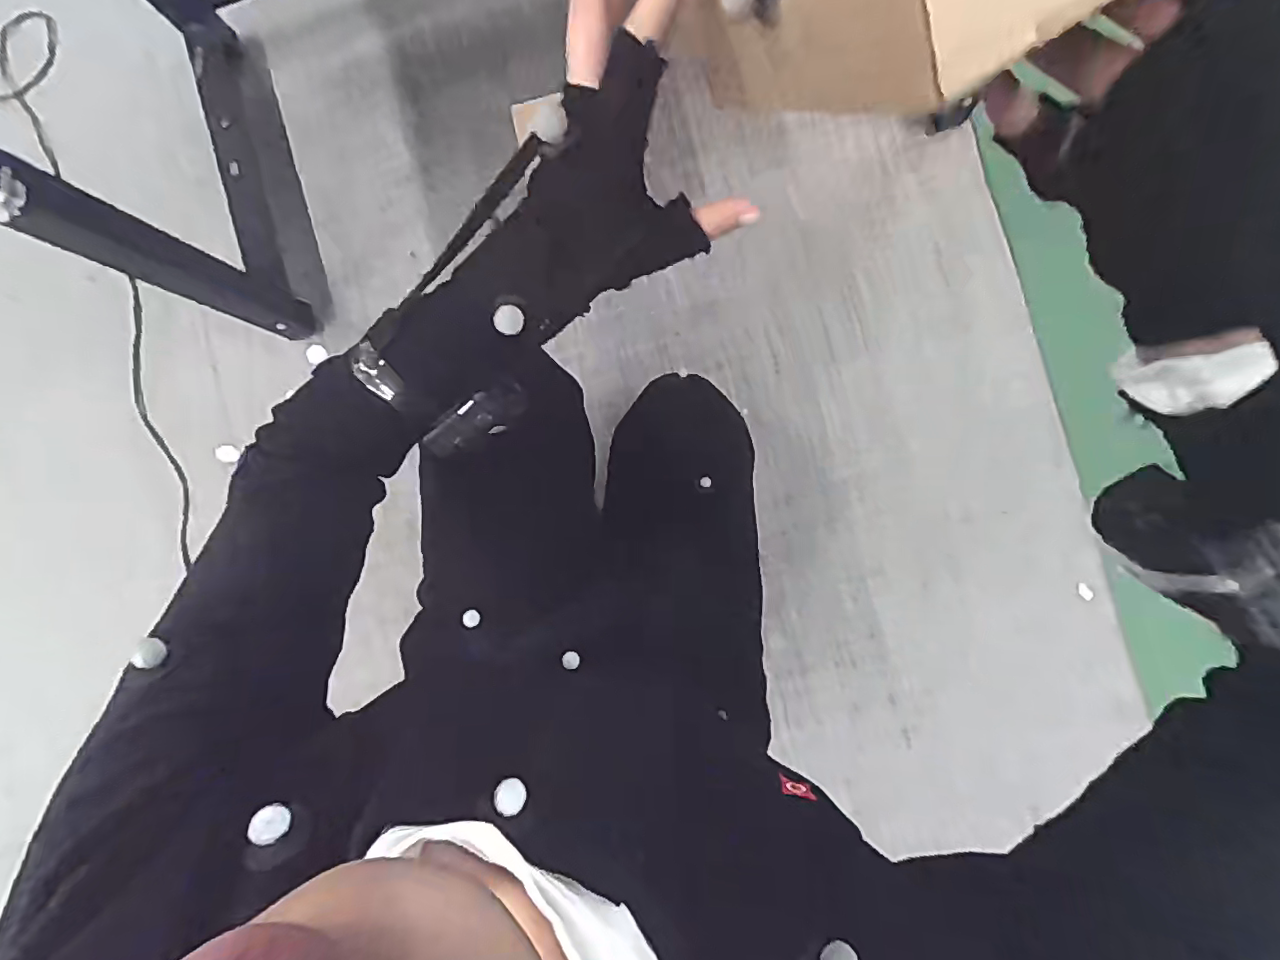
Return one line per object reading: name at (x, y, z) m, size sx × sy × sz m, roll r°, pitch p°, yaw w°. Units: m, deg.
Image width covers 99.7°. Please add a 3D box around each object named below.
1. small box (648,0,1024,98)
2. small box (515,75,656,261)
small box at (0.069, -0.249, 0.154) m, size 0.168 × 0.176 × 0.179 m, roll -36°, pitch 126°, yaw 7°
small box at (-0.074, -0.460, 0.833) m, size 0.168 × 0.176 × 0.179 m, roll -12°, pitch 86°, yaw 5°
